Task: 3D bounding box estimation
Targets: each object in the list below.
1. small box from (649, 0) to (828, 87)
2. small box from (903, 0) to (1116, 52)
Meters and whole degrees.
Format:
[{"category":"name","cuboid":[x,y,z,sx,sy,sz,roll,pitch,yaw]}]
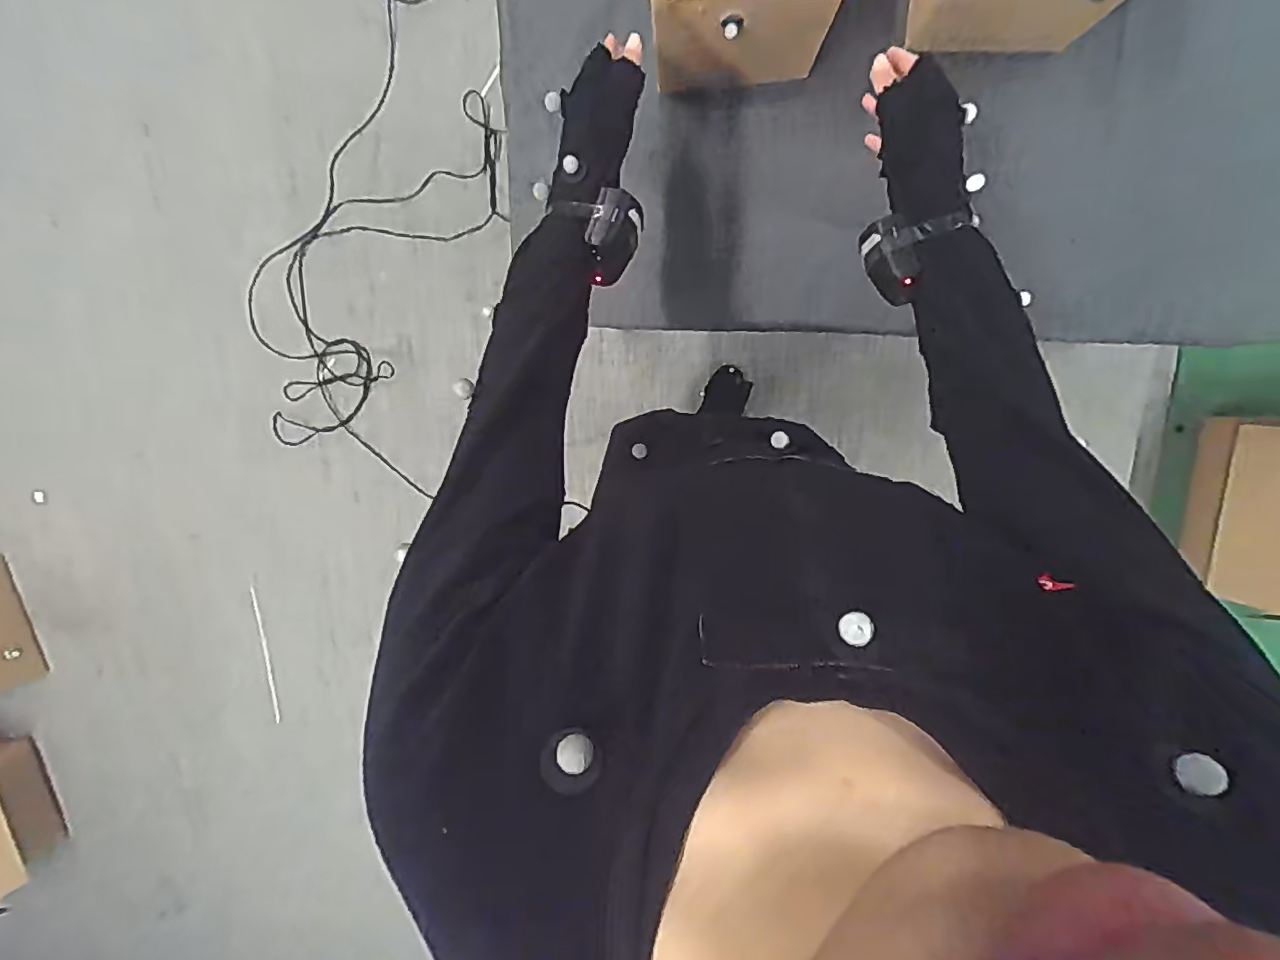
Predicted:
[{"category":"small box","cuboid":[0.095,-0.525,0.539,0.179,0.176,0.168,-2,102,4]},{"category":"small box","cuboid":[0.381,-0.543,0.510,0.179,0.176,0.168,3,101,3]}]
